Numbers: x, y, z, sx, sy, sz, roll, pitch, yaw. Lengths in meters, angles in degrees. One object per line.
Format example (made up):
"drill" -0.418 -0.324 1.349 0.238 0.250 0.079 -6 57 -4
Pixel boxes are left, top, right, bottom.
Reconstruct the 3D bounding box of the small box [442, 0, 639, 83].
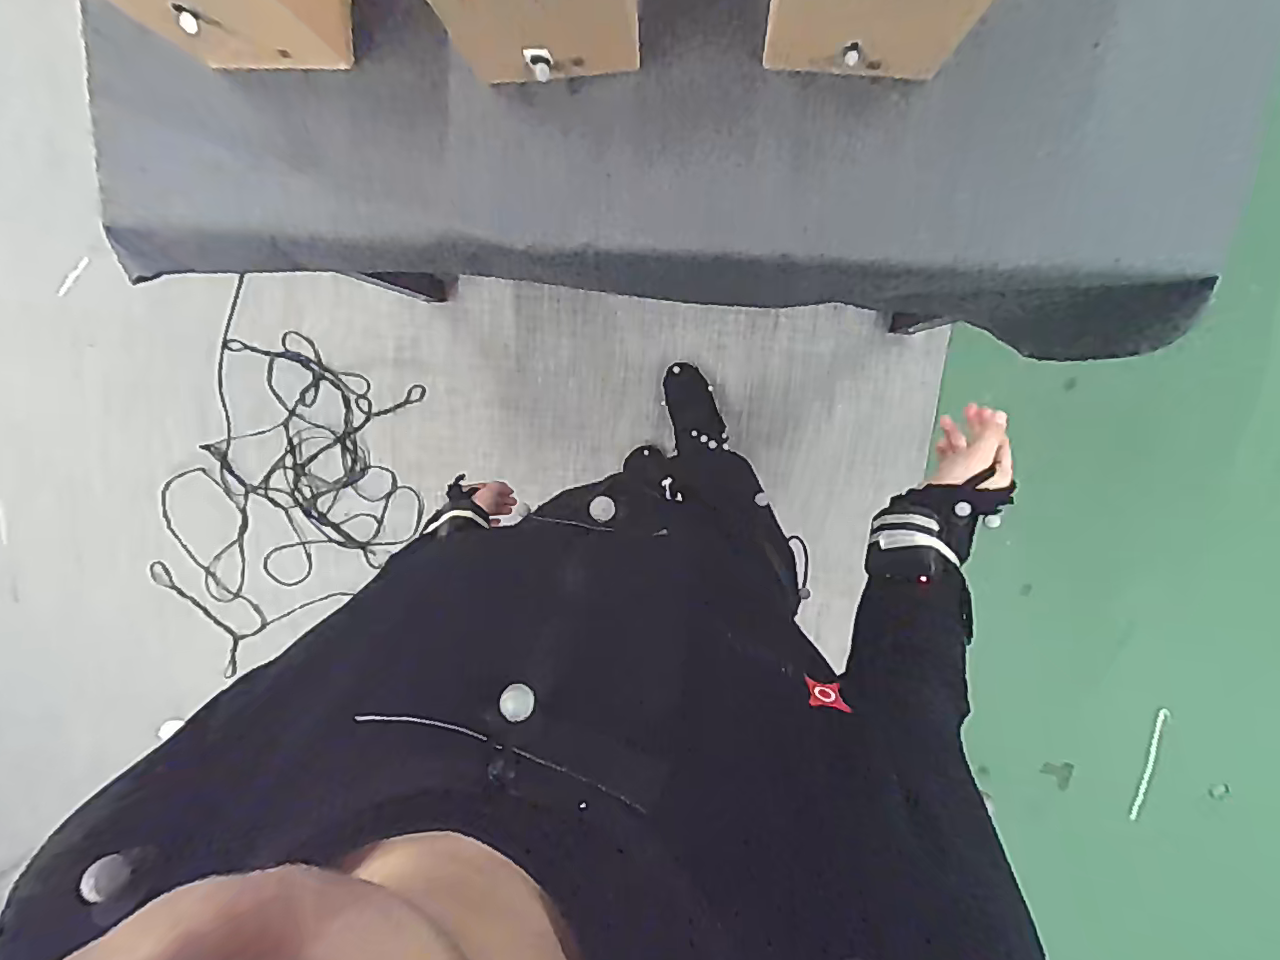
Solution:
"small box" -0.093 -0.487 0.462 0.168 0.176 0.179 -2 100 7

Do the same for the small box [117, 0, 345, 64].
"small box" -0.391 -0.512 0.484 0.168 0.176 0.179 3 99 4
